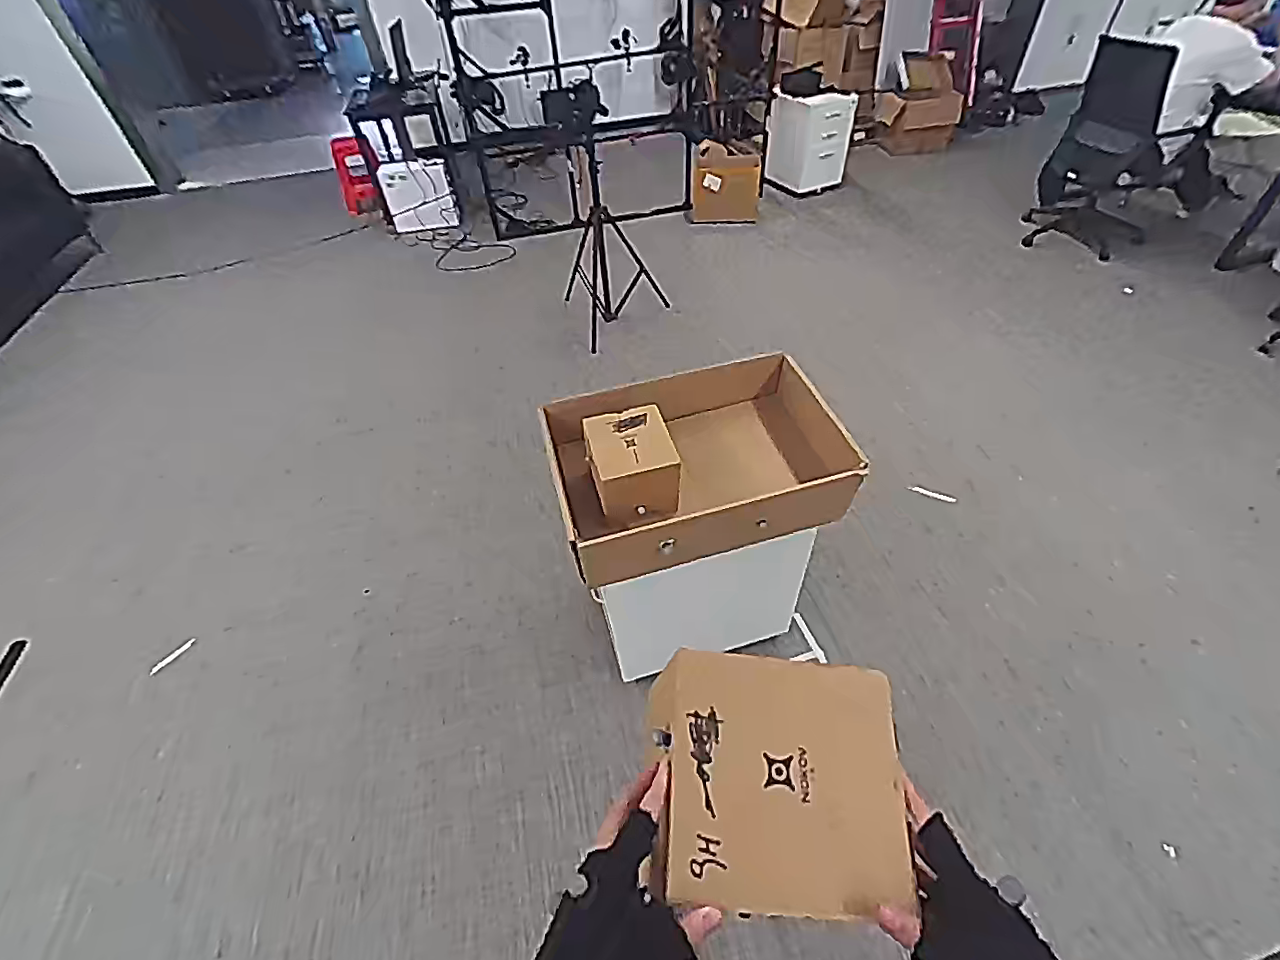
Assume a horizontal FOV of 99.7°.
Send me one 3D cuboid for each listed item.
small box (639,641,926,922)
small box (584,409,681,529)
[{"bbox_3d":[0.103,0.251,0.462,0.179,0.176,0.168,9,57,-3],"label":"small box"},{"bbox_3d":[-0.019,-0.022,1.167,0.168,0.176,0.179,-14,53,-9],"label":"small box"}]
